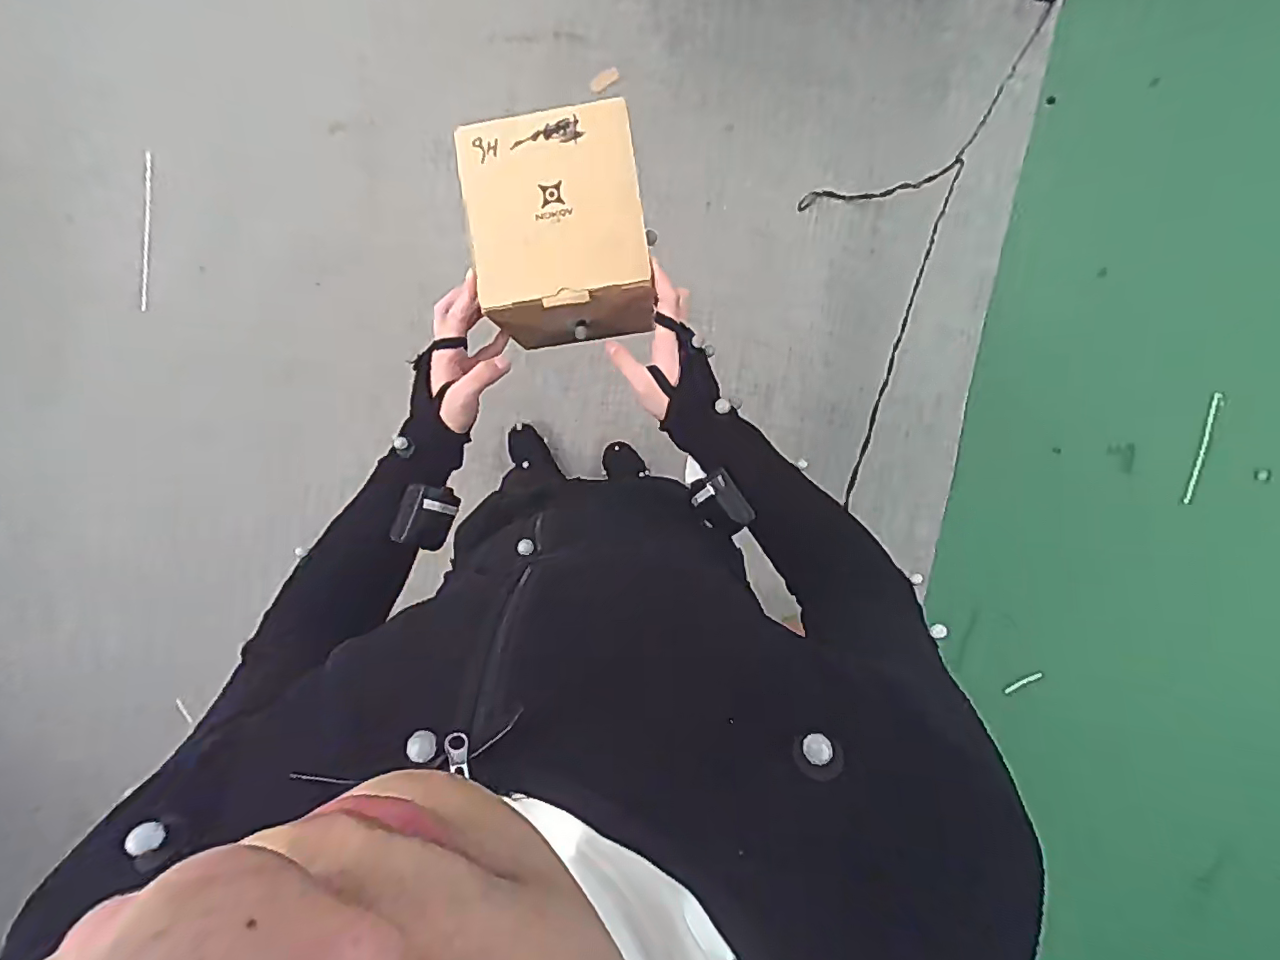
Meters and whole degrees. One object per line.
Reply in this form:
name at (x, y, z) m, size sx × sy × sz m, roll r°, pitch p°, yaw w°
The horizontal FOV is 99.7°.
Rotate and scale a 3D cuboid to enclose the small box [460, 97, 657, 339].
small box at (-0.072, -0.257, 0.578) m, size 0.168 × 0.176 × 0.179 m, roll -8°, pitch 91°, yaw 2°
